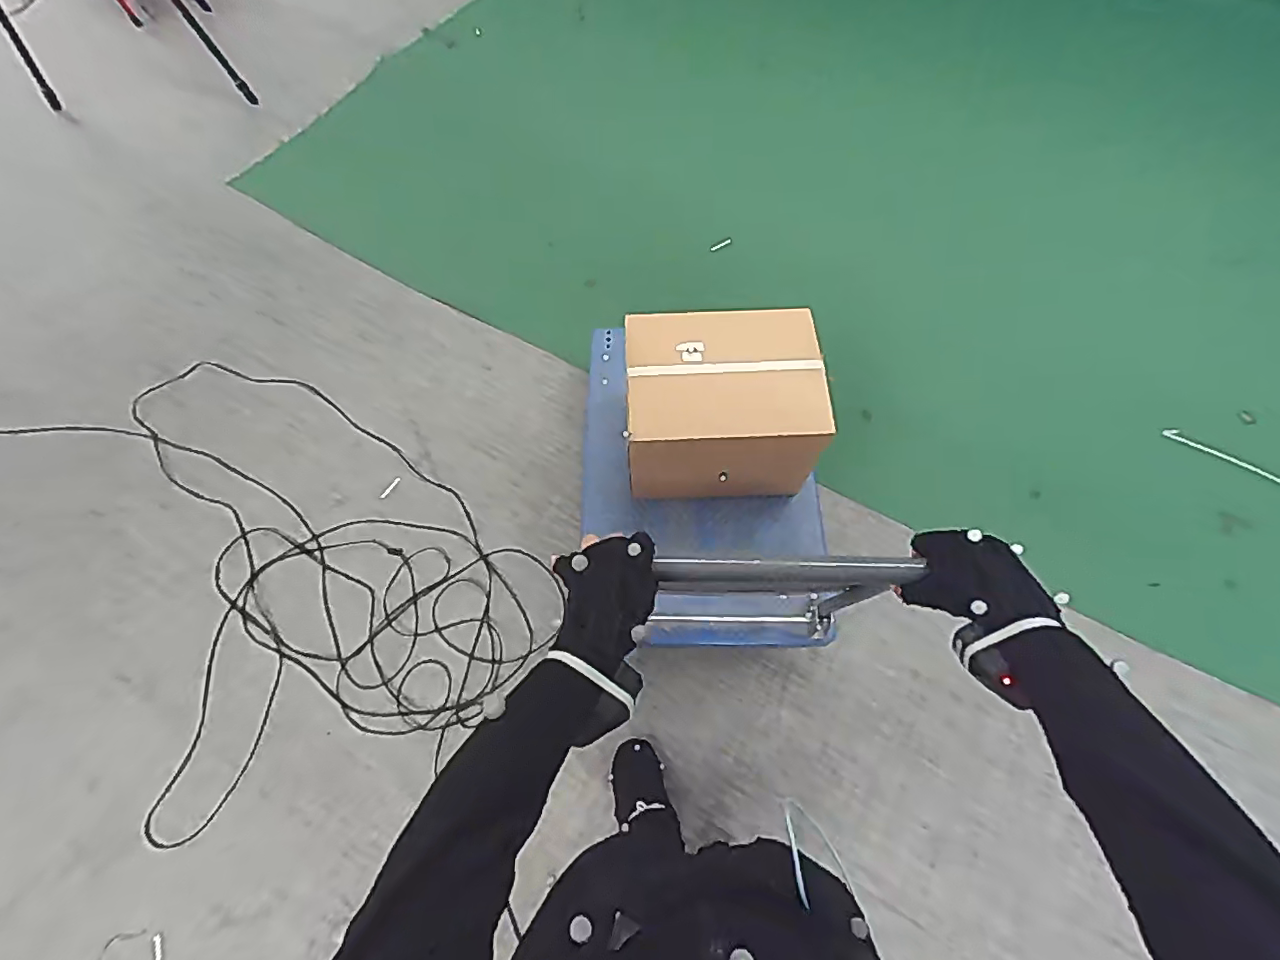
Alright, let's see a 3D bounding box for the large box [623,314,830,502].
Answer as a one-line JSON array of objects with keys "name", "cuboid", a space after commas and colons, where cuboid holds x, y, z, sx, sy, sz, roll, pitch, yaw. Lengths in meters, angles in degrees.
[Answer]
[{"name": "large box", "cuboid": [0.174, -0.153, 1.260, 0.408, 0.320, 0.320, -3, 65, 0]}]
